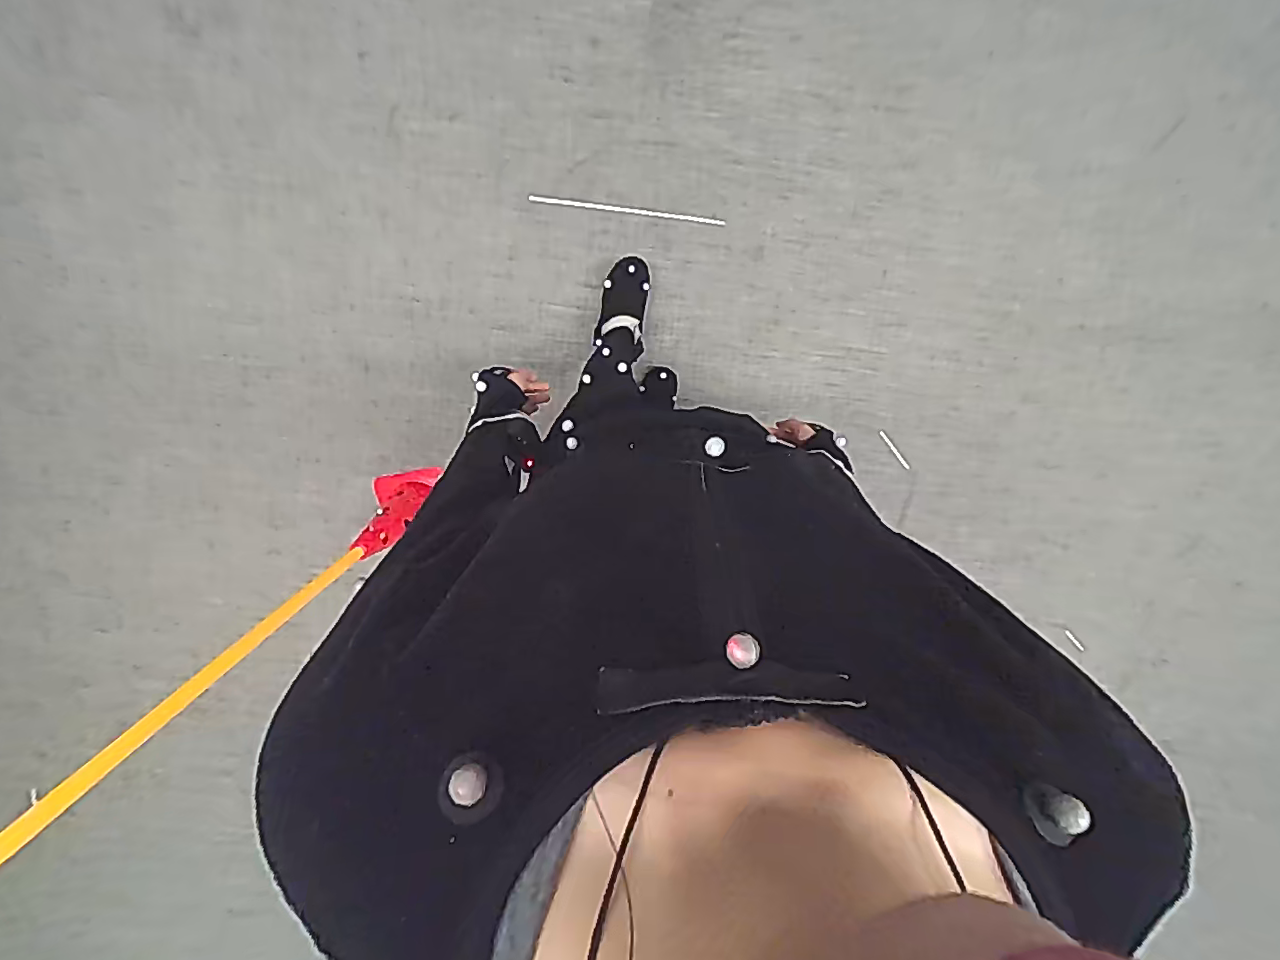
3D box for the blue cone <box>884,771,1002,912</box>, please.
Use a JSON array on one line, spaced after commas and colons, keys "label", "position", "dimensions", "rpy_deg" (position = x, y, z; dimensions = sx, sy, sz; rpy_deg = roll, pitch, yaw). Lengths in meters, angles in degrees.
[{"label": "blue cone", "position": [0.913, 1.076, 1.594], "dimensions": [0.193, 0.380, 0.192], "rpy_deg": [-40, 100, 3]}]
